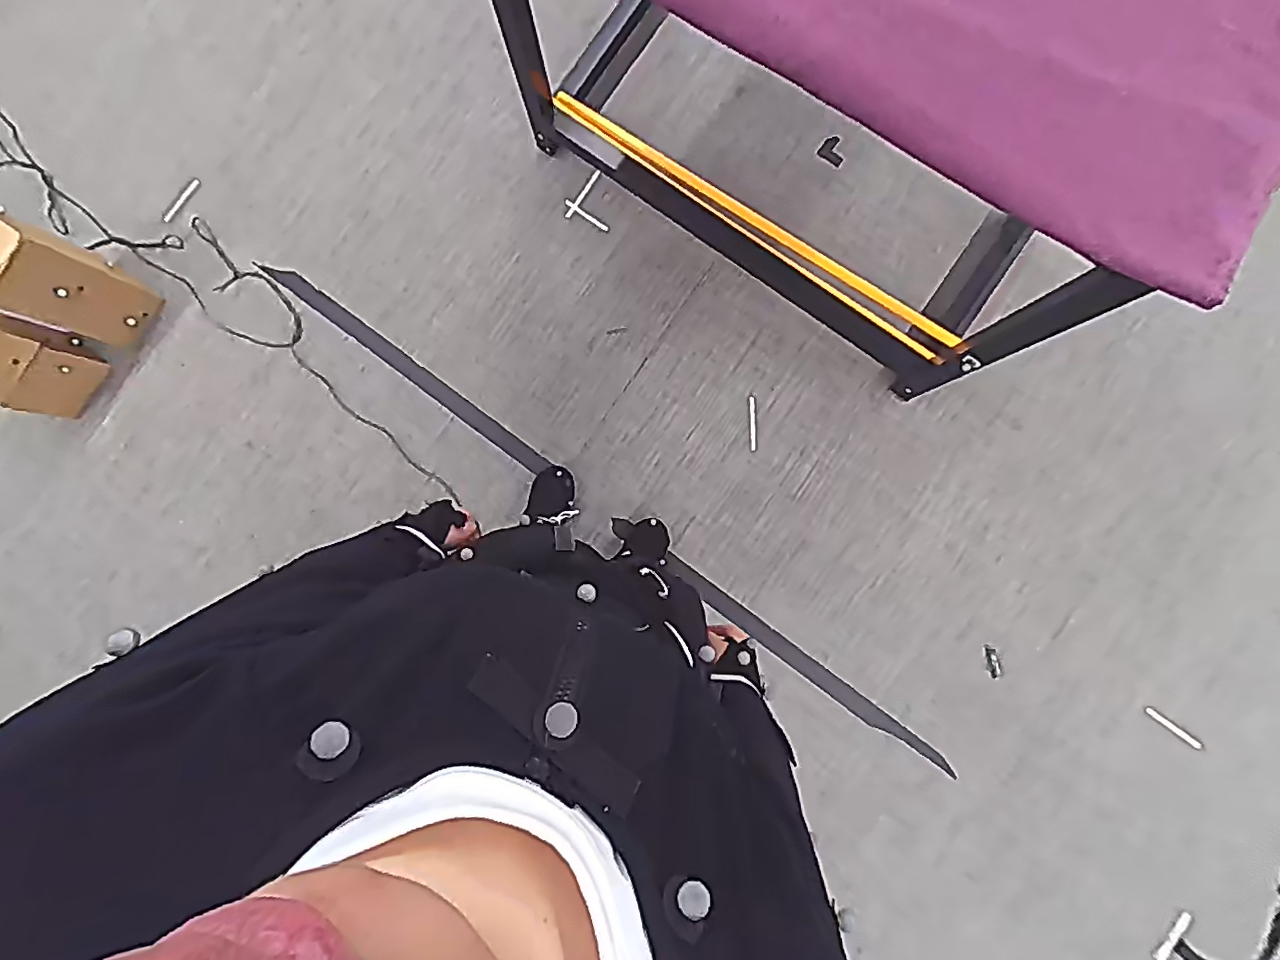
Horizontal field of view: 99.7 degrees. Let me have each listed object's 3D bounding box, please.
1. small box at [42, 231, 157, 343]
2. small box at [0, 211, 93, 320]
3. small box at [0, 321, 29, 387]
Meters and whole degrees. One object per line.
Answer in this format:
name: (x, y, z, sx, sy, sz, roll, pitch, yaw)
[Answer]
small box: (-1.379, -0.467, 1.339, 0.179, 0.176, 0.168, 36, 88, 1)
small box: (-1.379, -0.476, 1.174, 0.179, 0.176, 0.168, 34, 88, 1)
small box: (-1.514, -0.297, 1.170, 0.179, 0.176, 0.168, 30, 88, 3)
